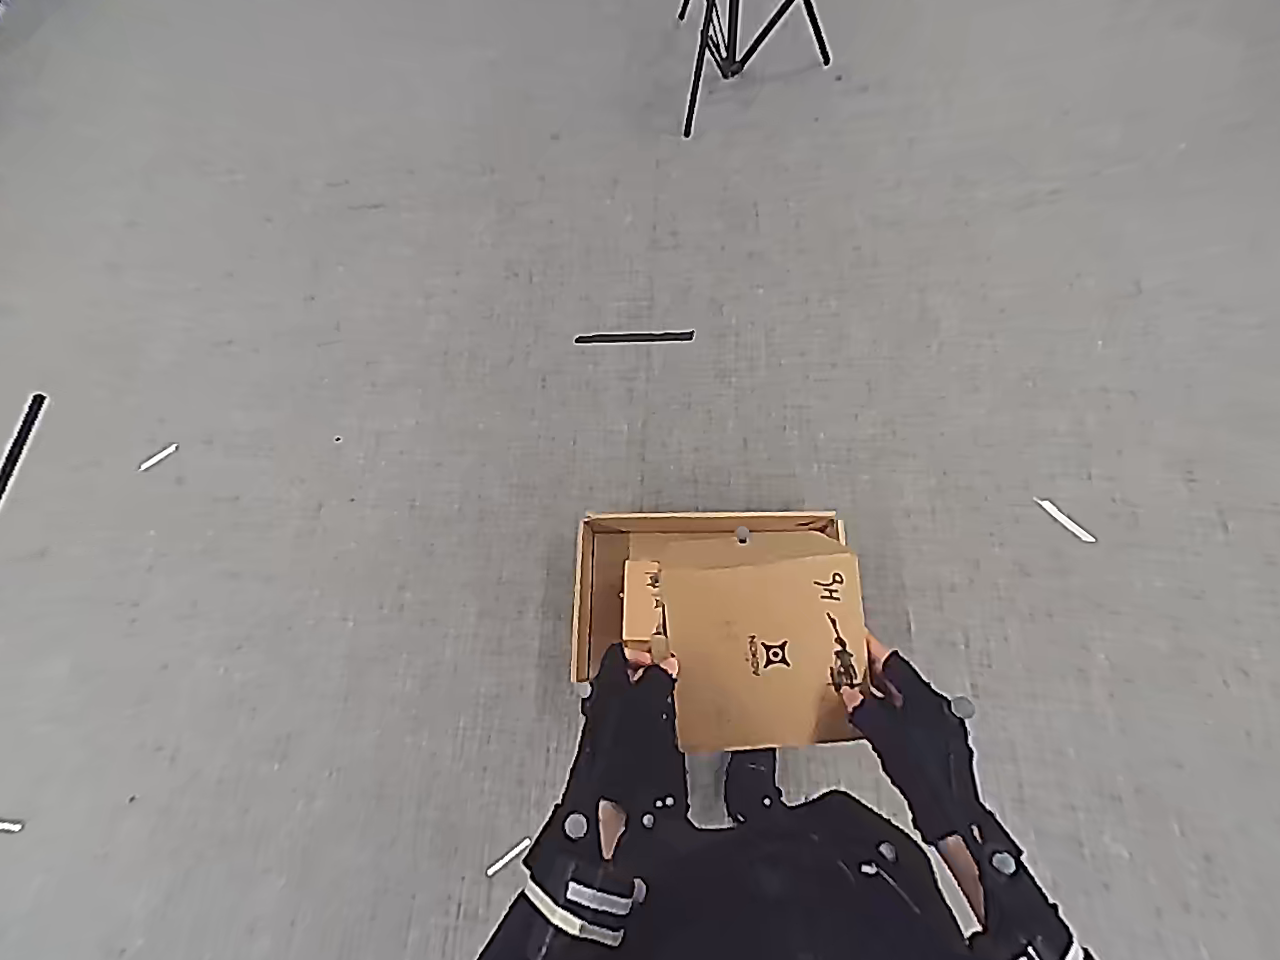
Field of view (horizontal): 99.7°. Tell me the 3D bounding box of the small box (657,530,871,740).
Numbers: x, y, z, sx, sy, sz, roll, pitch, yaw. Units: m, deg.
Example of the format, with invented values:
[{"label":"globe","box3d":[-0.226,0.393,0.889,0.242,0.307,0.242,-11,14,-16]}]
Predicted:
[{"label":"small box","box3d":[0.118,0.146,0.557,0.179,0.176,0.168,-6,90,7]}]
